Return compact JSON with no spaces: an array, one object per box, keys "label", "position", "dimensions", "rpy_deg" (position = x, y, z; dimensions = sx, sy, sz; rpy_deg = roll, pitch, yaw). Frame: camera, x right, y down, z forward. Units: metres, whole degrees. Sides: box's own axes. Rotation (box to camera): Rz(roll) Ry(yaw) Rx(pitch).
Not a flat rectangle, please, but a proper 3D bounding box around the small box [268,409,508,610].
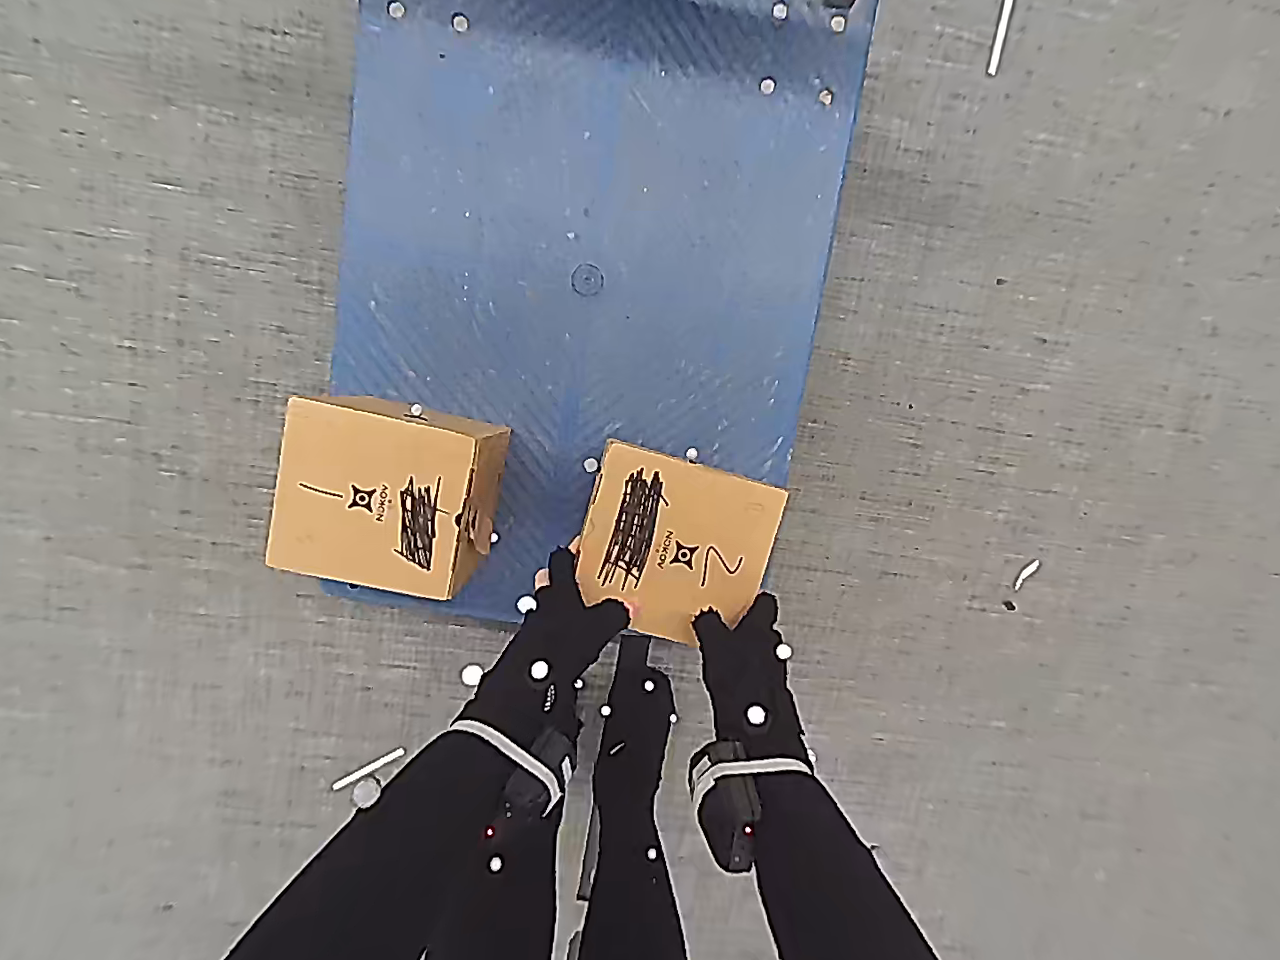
[{"label":"small box","position":[-0.254,0.019,0.586],"dimensions":[0.179,0.176,0.168],"rpy_deg":[13,97,-4]}]
